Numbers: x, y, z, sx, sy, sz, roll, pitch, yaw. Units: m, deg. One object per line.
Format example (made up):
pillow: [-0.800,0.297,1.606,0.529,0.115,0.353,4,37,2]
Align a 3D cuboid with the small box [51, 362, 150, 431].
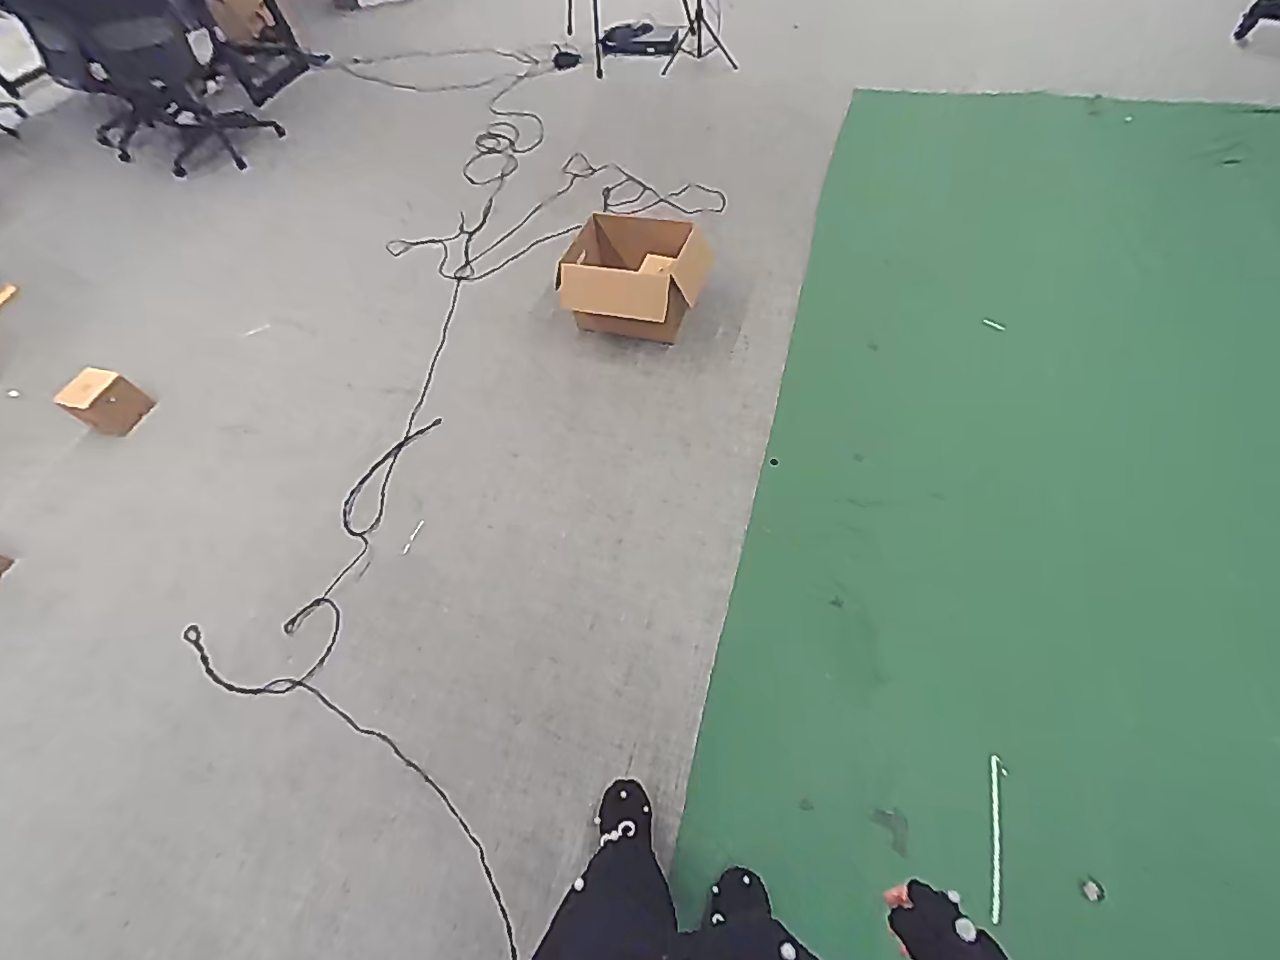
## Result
small box: [-2.011,-0.313,2.032,0.168,0.176,0.179,11,61,12]
